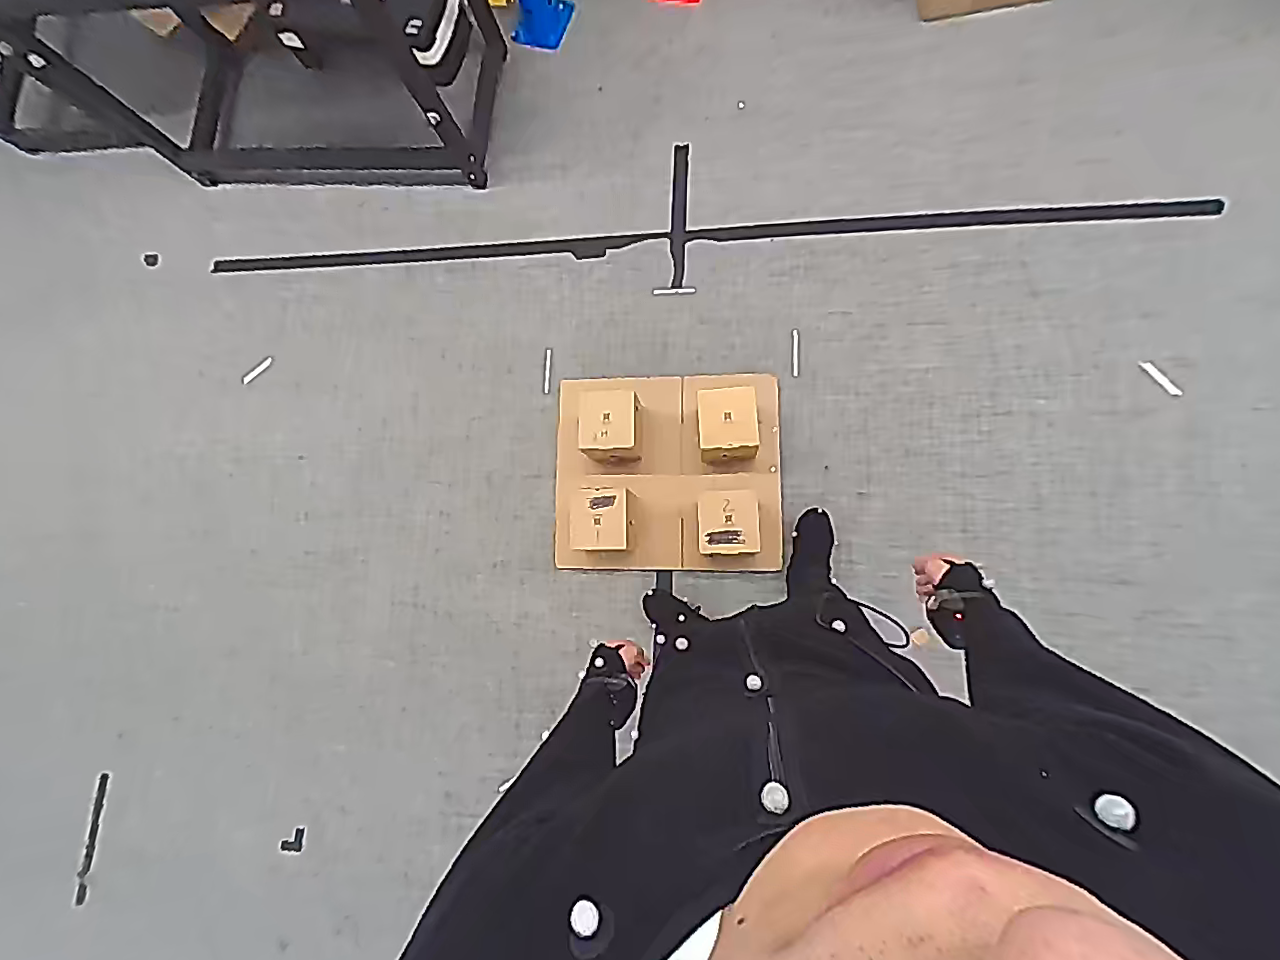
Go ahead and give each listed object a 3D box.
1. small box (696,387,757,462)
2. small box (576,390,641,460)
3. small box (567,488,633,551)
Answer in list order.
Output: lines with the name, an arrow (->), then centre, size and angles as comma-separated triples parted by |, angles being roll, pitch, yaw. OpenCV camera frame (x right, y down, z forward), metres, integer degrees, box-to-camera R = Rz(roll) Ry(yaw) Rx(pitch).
small box -> 0.250, -0.159, 1.594 | 0.168, 0.176, 0.179 | -4, 81, 7
small box -> -0.091, -0.161, 1.635 | 0.168, 0.176, 0.179 | -1, 82, 8
small box -> -0.114, 0.121, 1.596 | 0.168, 0.176, 0.179 | -2, 82, 8
